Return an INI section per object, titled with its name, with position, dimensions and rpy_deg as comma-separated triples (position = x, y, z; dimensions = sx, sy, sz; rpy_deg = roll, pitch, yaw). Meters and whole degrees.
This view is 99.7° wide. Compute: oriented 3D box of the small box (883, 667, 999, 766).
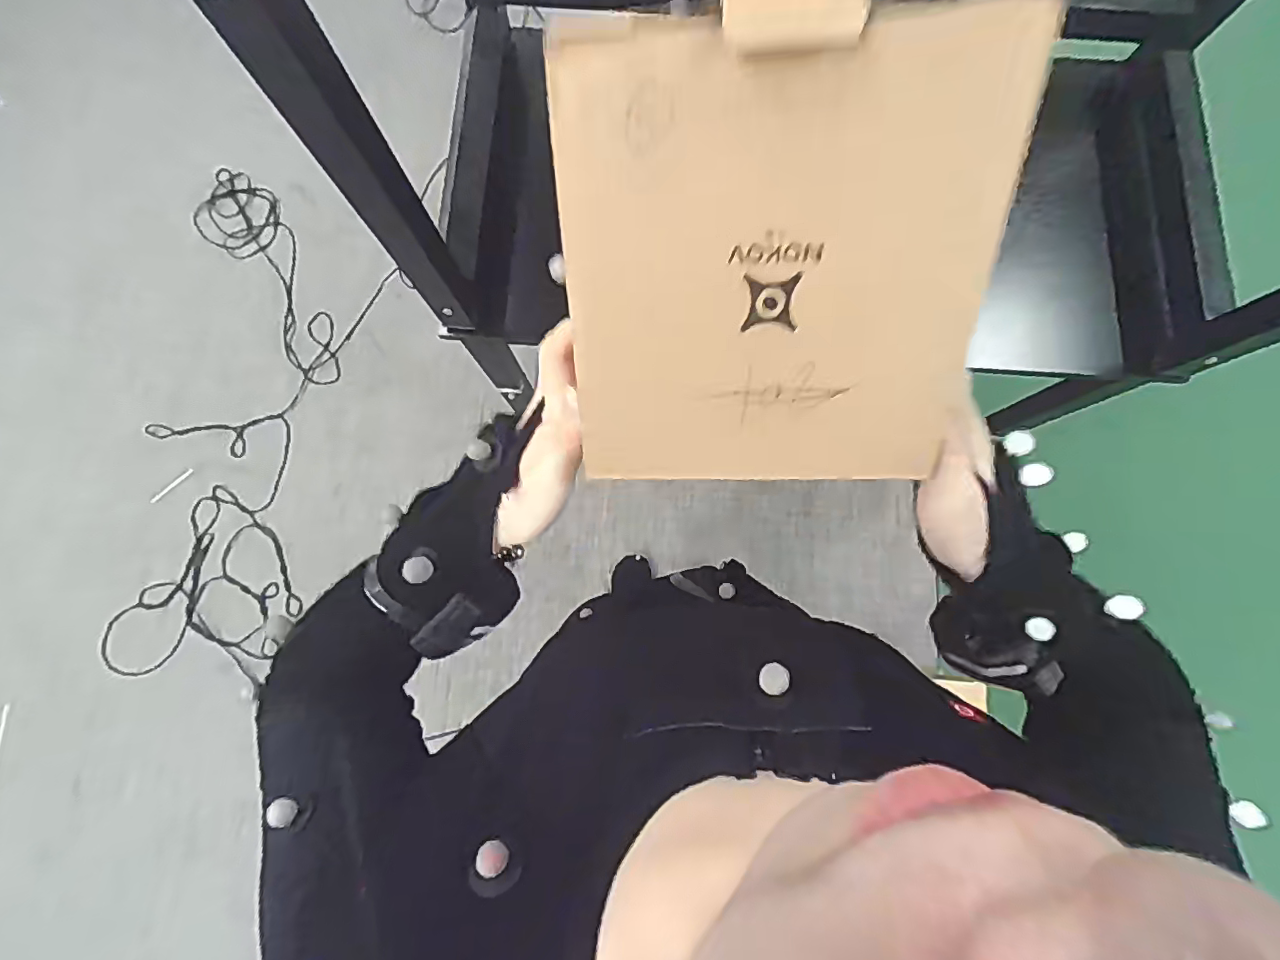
[small box]
position = 0.660, 0.519, 1.208
dimensions = 0.179, 0.176, 0.168
rpy_deg = 4, 79, 0
